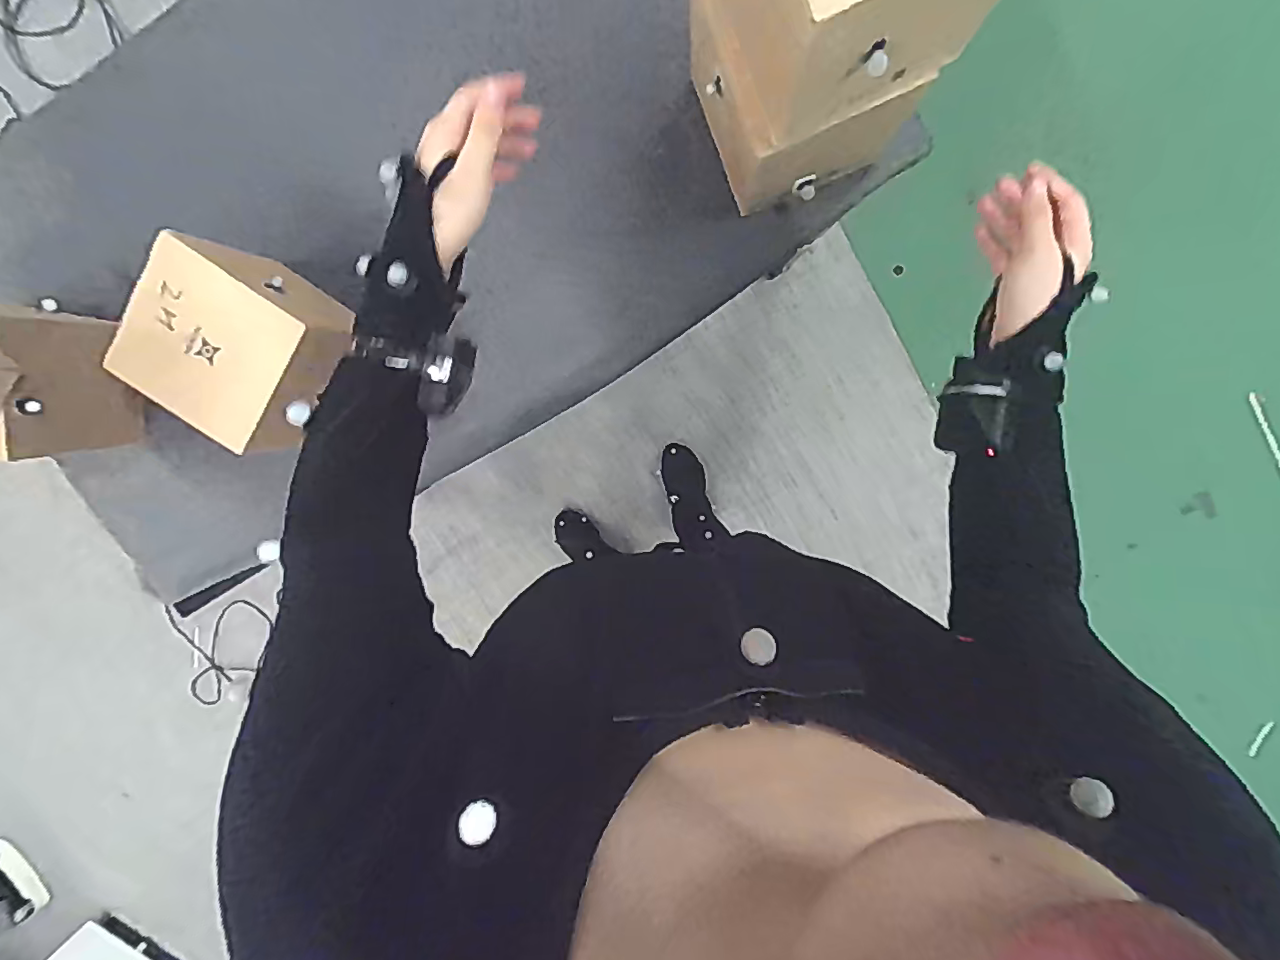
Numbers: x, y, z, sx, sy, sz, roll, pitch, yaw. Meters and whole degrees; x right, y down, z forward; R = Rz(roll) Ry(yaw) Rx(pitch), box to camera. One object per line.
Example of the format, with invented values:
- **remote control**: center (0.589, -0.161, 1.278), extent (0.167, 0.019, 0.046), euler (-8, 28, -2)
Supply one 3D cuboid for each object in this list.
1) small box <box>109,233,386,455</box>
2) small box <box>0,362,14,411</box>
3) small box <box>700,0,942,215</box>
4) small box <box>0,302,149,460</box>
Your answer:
- **small box**: center (-0.445, -0.154, 0.643), extent (0.179, 0.176, 0.168), euler (35, 101, -2)
- **small box**: center (-0.780, -0.095, 0.512), extent (0.168, 0.176, 0.179), euler (41, 102, -5)
- **small box**: center (0.162, -0.405, 0.544), extent (0.168, 0.176, 0.179), euler (-21, 96, 10)
- **small box**: center (-0.771, -0.131, 0.672), extent (0.179, 0.176, 0.168), euler (10, 102, 2)
